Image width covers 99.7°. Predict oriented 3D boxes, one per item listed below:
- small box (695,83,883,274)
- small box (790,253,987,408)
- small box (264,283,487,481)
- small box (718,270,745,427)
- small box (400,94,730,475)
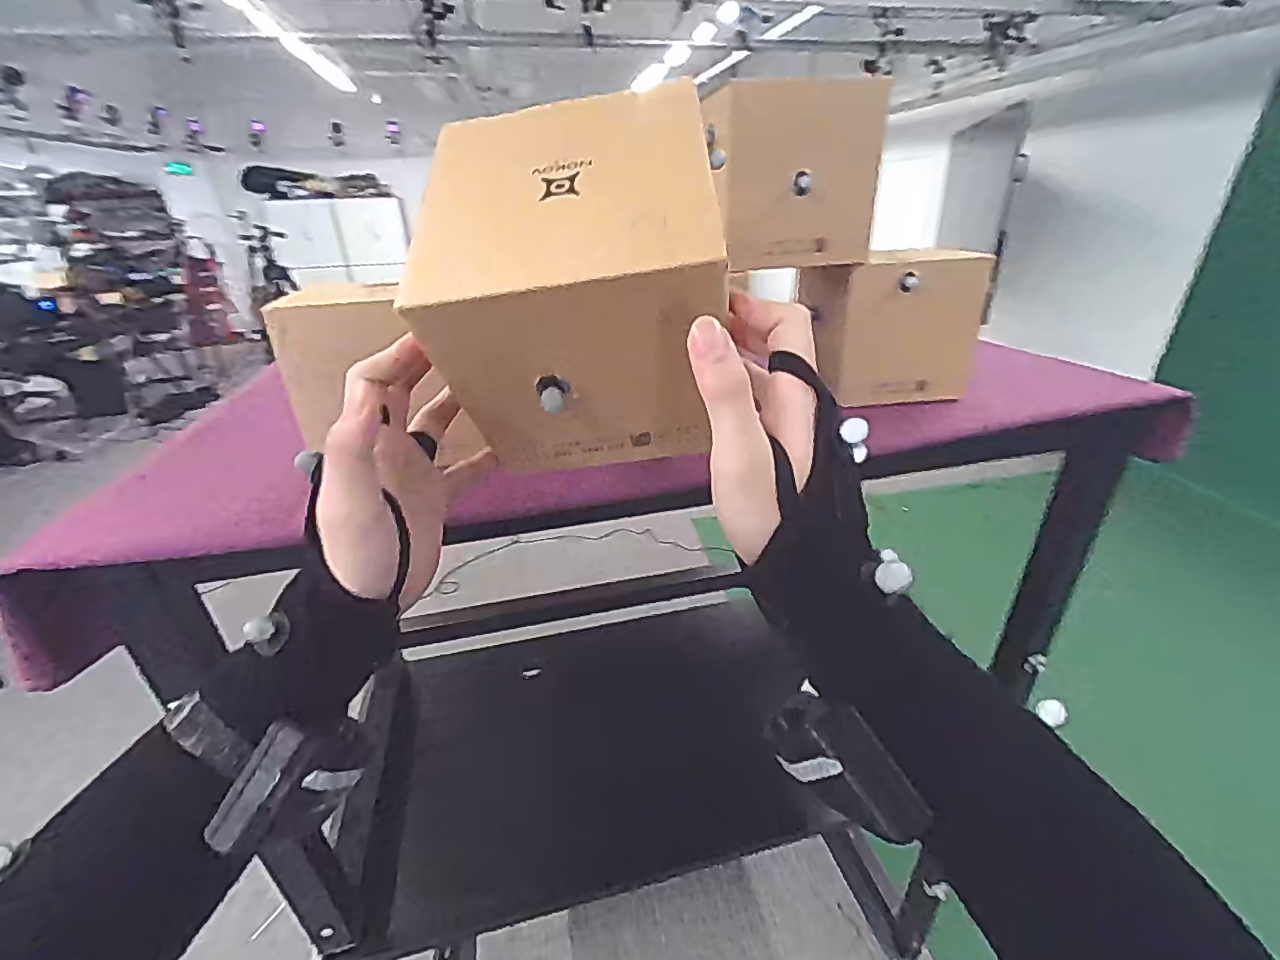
[{"bbox_3d":[0.145,-0.330,0.615,0.168,0.176,0.179,-7,26,-8],"label":"small box"},{"bbox_3d":[0.305,-0.200,0.709,0.168,0.176,0.179,-5,26,-3],"label":"small box"},{"bbox_3d":[-0.260,-0.114,0.582,0.168,0.176,0.179,-8,28,-12],"label":"small box"},{"bbox_3d":[0.018,-0.161,0.658,0.168,0.176,0.179,-7,27,-8],"label":"small box"},{"bbox_3d":[-0.031,-0.115,0.370,0.168,0.176,0.179,-7,59,7],"label":"small box"}]
